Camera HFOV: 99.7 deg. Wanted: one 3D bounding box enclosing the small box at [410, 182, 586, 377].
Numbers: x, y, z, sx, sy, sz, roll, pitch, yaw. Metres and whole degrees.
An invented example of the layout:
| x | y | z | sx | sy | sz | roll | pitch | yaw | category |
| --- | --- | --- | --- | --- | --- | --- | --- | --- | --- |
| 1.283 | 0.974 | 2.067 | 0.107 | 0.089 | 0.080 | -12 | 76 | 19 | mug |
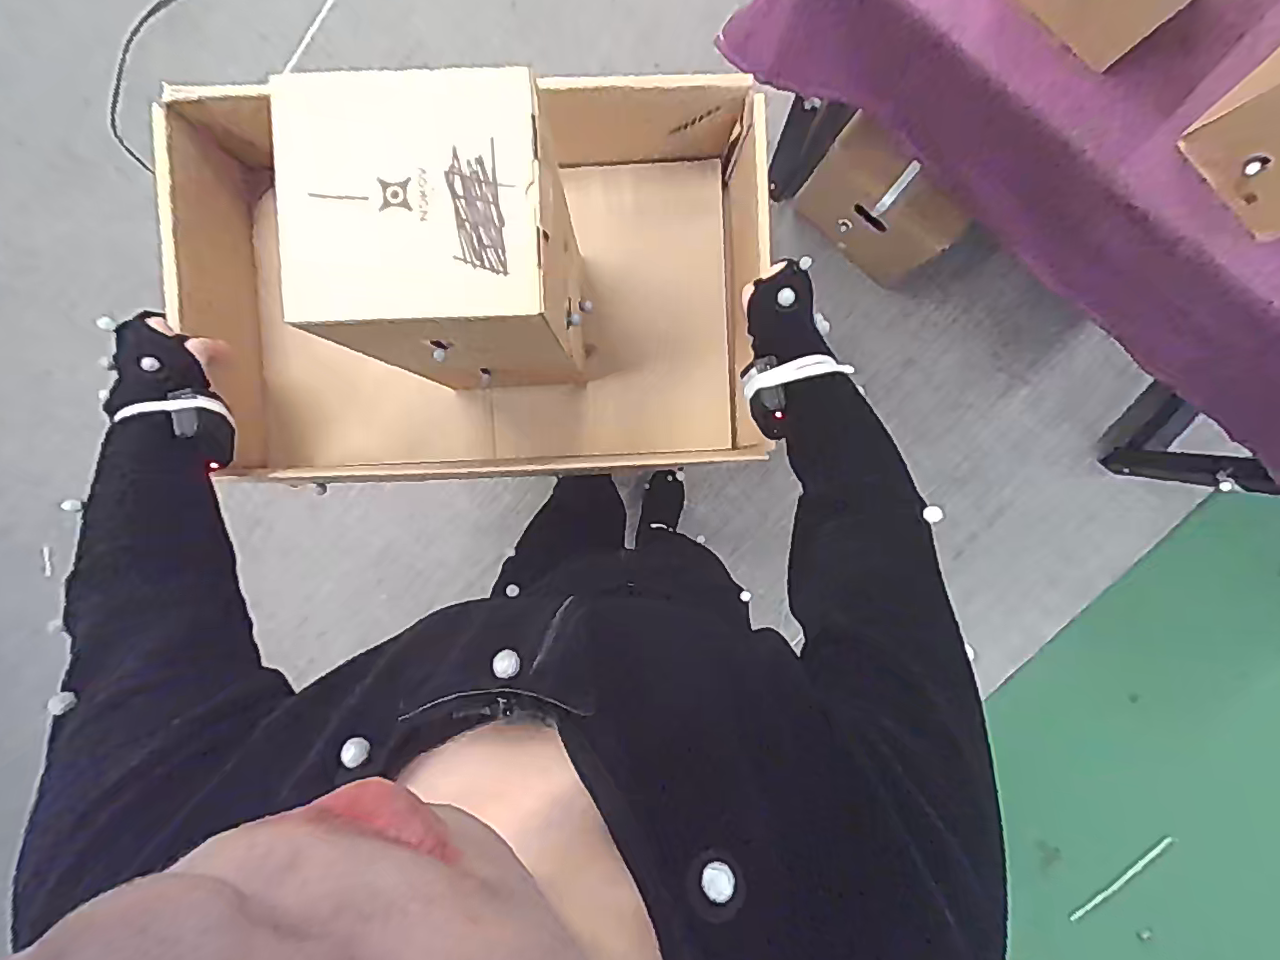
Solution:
| x | y | z | sx | sy | sz | roll | pitch | yaw | category |
| --- | --- | --- | --- | --- | --- | --- | --- | --- | --- |
| -0.157 | -0.210 | 0.606 | 0.179 | 0.176 | 0.168 | -2 | 93 | -1 | small box |

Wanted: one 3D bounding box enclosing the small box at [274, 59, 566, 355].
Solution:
| x | y | z | sx | sy | sz | roll | pitch | yaw | category |
| --- | --- | --- | --- | --- | --- | --- | --- | --- | --- |
| -0.154 | -0.200 | 0.442 | 0.179 | 0.176 | 0.168 | -1 | 93 | 0 | small box |

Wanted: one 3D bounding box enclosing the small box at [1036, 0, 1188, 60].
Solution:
| x | y | z | sx | sy | sz | roll | pitch | yaw | category |
| --- | --- | --- | --- | --- | --- | --- | --- | --- | --- |
| 0.537 | -0.592 | 0.549 | 0.179 | 0.176 | 0.168 | 42 | 99 | -2 | small box |

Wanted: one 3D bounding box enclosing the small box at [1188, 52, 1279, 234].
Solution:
| x | y | z | sx | sy | sz | roll | pitch | yaw | category |
| --- | --- | --- | --- | --- | --- | --- | --- | --- | --- |
| 0.761 | -0.398 | 0.565 | 0.179 | 0.176 | 0.168 | -43 | 93 | 9 | small box |
